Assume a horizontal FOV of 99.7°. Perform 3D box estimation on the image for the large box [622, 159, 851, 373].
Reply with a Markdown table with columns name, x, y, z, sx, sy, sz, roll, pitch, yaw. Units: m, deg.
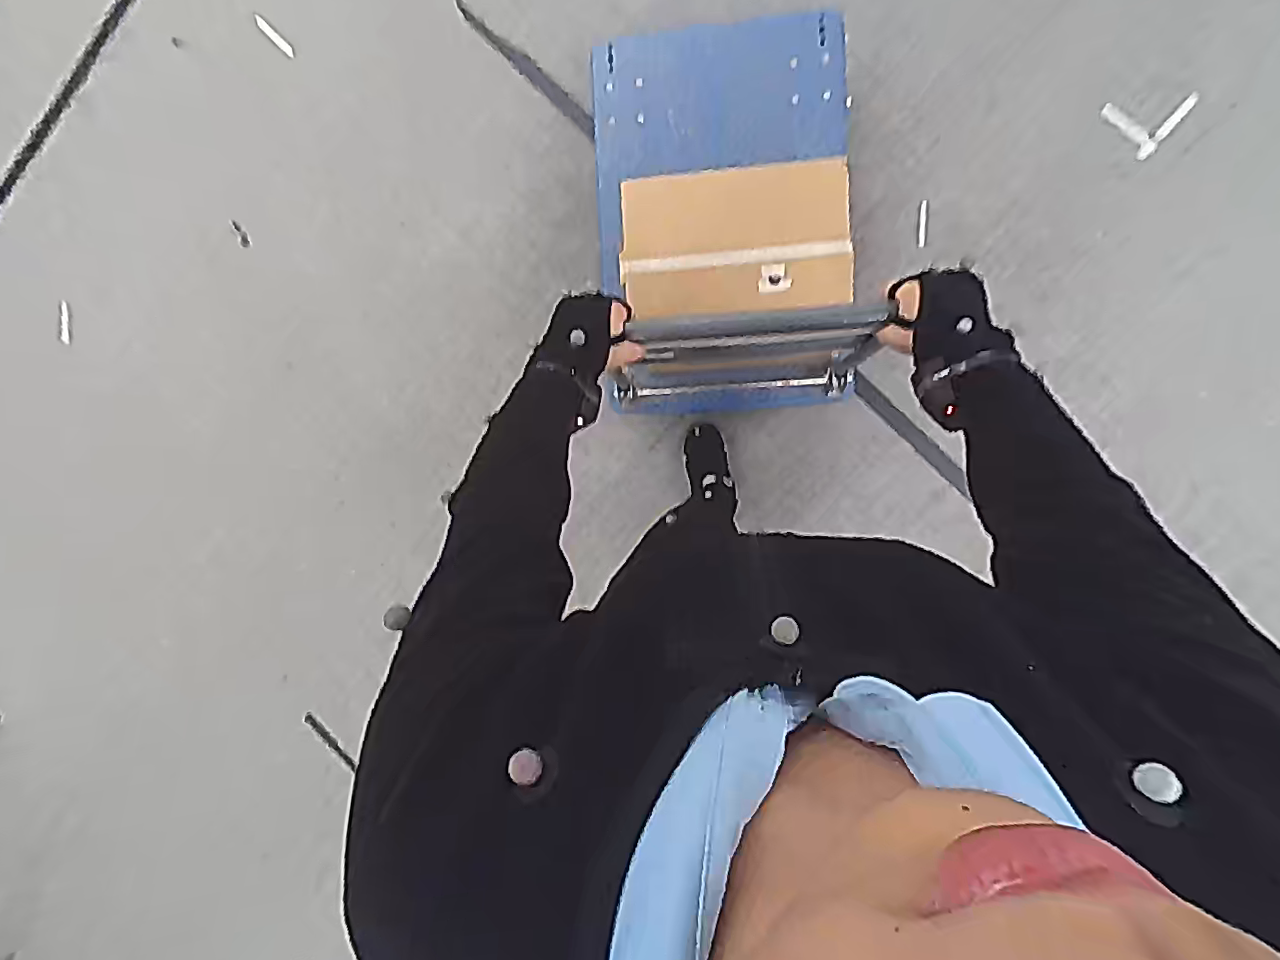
| name | x | y | z | sx | sy | sz | roll | pitch | yaw |
| --- | --- | --- | --- | --- | --- | --- | --- | --- | --- |
| large box | 0.186 | -0.412 | 1.129 | 0.408 | 0.320 | 0.320 | -3 | 94 | 5 |
